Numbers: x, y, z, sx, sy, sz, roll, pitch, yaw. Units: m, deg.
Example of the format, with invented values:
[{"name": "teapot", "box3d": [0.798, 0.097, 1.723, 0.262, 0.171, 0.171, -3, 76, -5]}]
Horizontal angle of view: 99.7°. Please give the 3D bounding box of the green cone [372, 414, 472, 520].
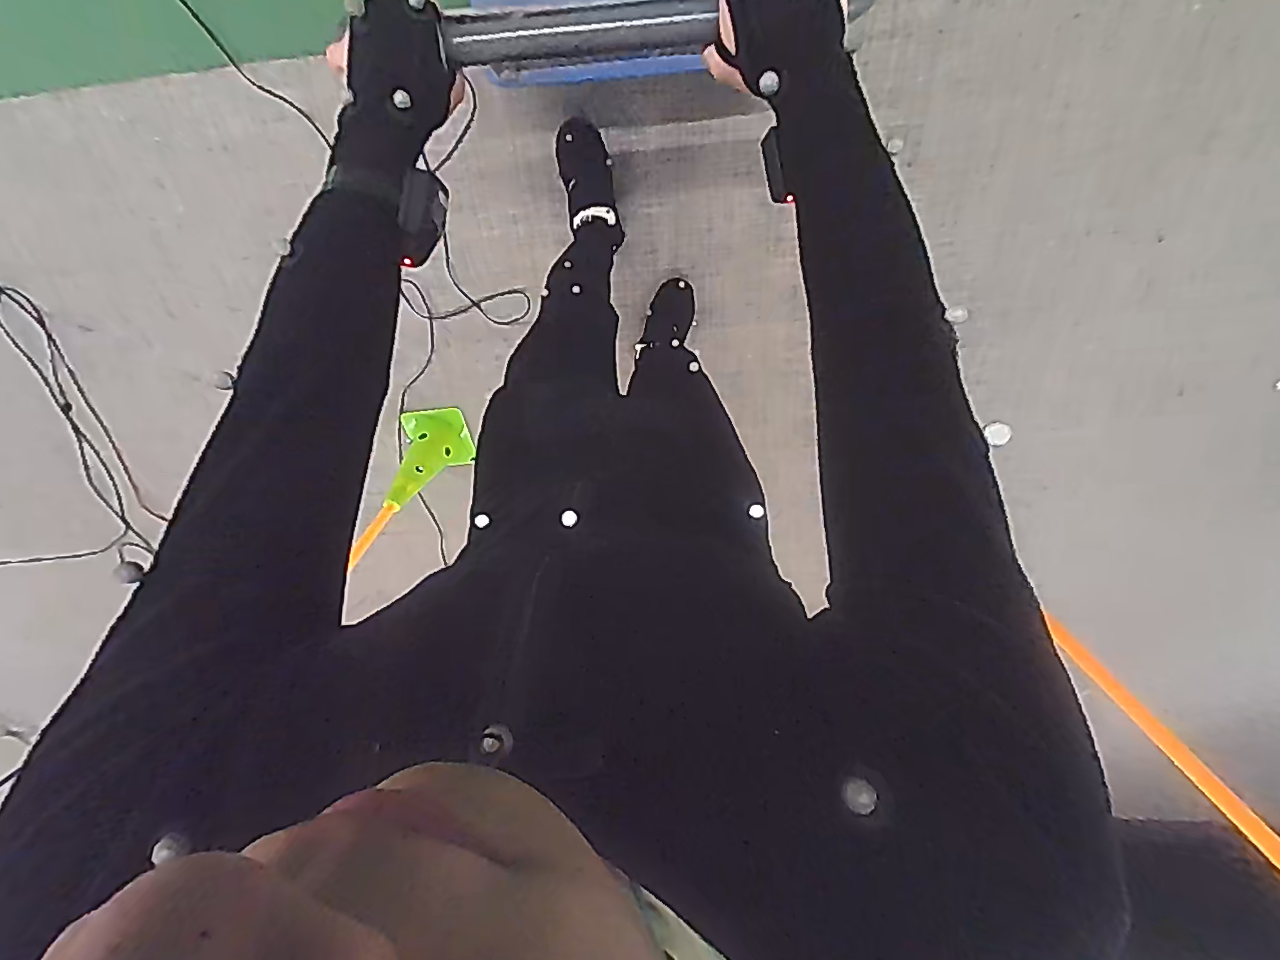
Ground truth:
[{"name": "green cone", "box3d": [-0.651, -0.016, 1.535, 0.202, 0.368, 0.200, -5, 123, 9]}]
